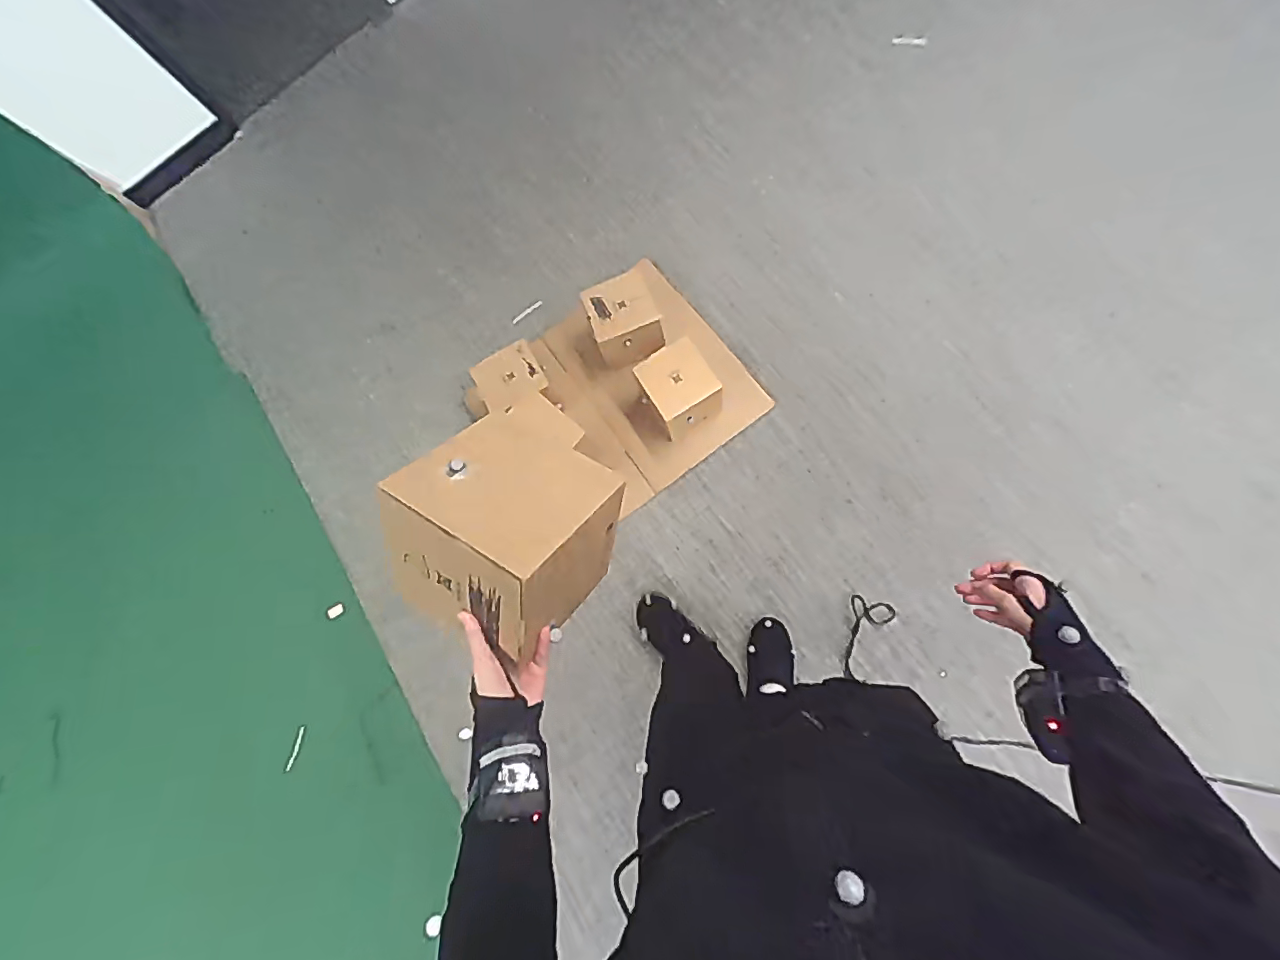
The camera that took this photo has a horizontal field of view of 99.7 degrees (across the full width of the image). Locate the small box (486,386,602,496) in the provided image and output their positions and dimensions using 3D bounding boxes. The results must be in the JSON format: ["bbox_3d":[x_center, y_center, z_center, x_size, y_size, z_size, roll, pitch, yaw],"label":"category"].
[{"bbox_3d":[-0.216,-0.082,1.258,0.179,0.176,0.168,41,87,16],"label":"small box"}]

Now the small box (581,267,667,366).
[{"bbox_3d":[-0.040,-0.438,1.477,0.179,0.176,0.168,-21,74,3],"label":"small box"}]

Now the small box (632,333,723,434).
[{"bbox_3d":[0.105,-0.238,1.405,0.168,0.176,0.179,-32,73,1],"label":"small box"}]

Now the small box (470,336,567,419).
[{"bbox_3d":[-0.329,-0.255,1.490,0.179,0.176,0.168,-30,73,3],"label":"small box"}]
